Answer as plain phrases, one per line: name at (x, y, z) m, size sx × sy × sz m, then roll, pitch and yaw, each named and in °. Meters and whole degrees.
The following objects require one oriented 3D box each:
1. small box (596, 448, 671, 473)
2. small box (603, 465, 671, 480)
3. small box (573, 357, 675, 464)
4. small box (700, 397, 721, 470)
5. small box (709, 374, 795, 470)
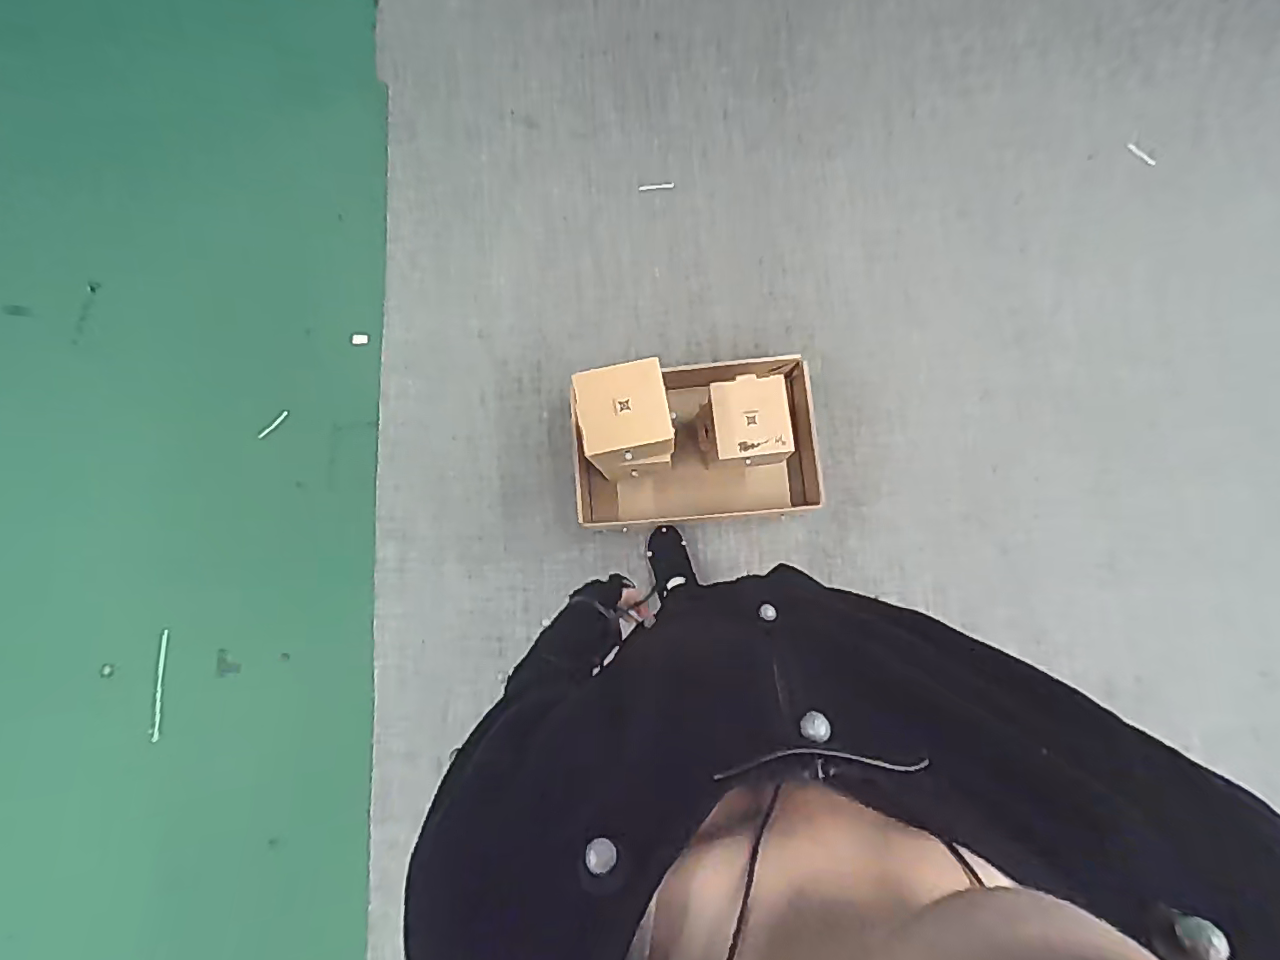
small box at (-0.014, -0.112, 1.271) m, size 0.168 × 0.176 × 0.179 m, roll -4°, pitch 83°, yaw 3°
small box at (-0.012, -0.098, 1.436) m, size 0.179 × 0.176 × 0.168 m, roll -8°, pitch 82°, yaw 1°
small box at (-0.028, -0.135, 1.111) m, size 0.179 × 0.176 × 0.168 m, roll -11°, pitch 83°, yaw 3°
small box at (0.256, -0.129, 1.417) m, size 0.179 × 0.176 × 0.168 m, roll -10°, pitch 82°, yaw 4°
small box at (0.251, -0.129, 1.252) m, size 0.168 × 0.176 × 0.179 m, roll -6°, pitch 81°, yaw 5°
